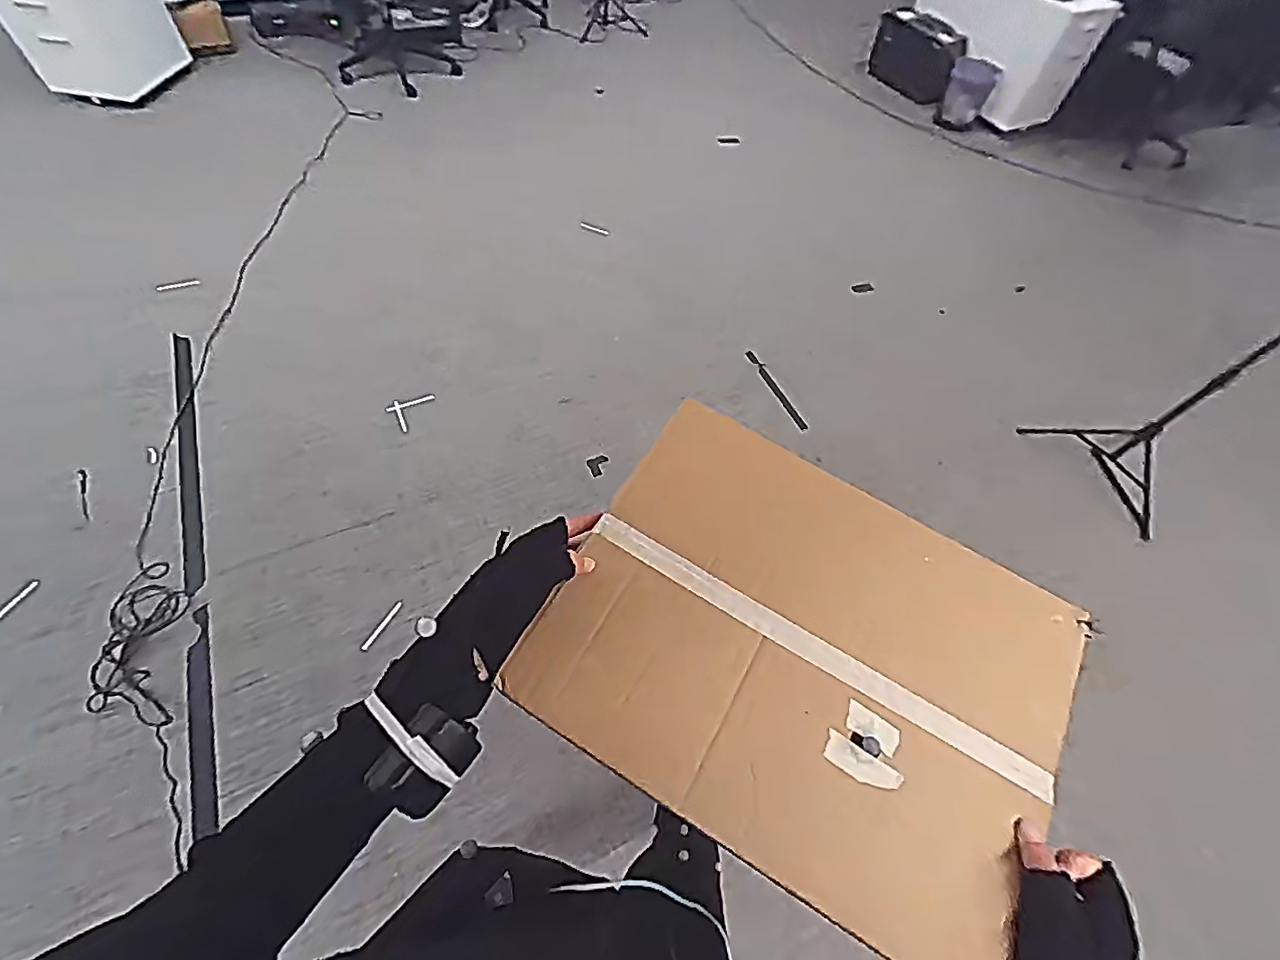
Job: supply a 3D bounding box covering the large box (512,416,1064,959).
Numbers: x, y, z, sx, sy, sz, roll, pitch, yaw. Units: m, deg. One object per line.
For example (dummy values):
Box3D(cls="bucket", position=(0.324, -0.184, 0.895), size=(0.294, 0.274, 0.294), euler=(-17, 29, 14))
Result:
Box3D(cls="large box", position=(0.127, 0.205, 0.594), size=(0.408, 0.320, 0.320), euler=(30, 68, 9))
